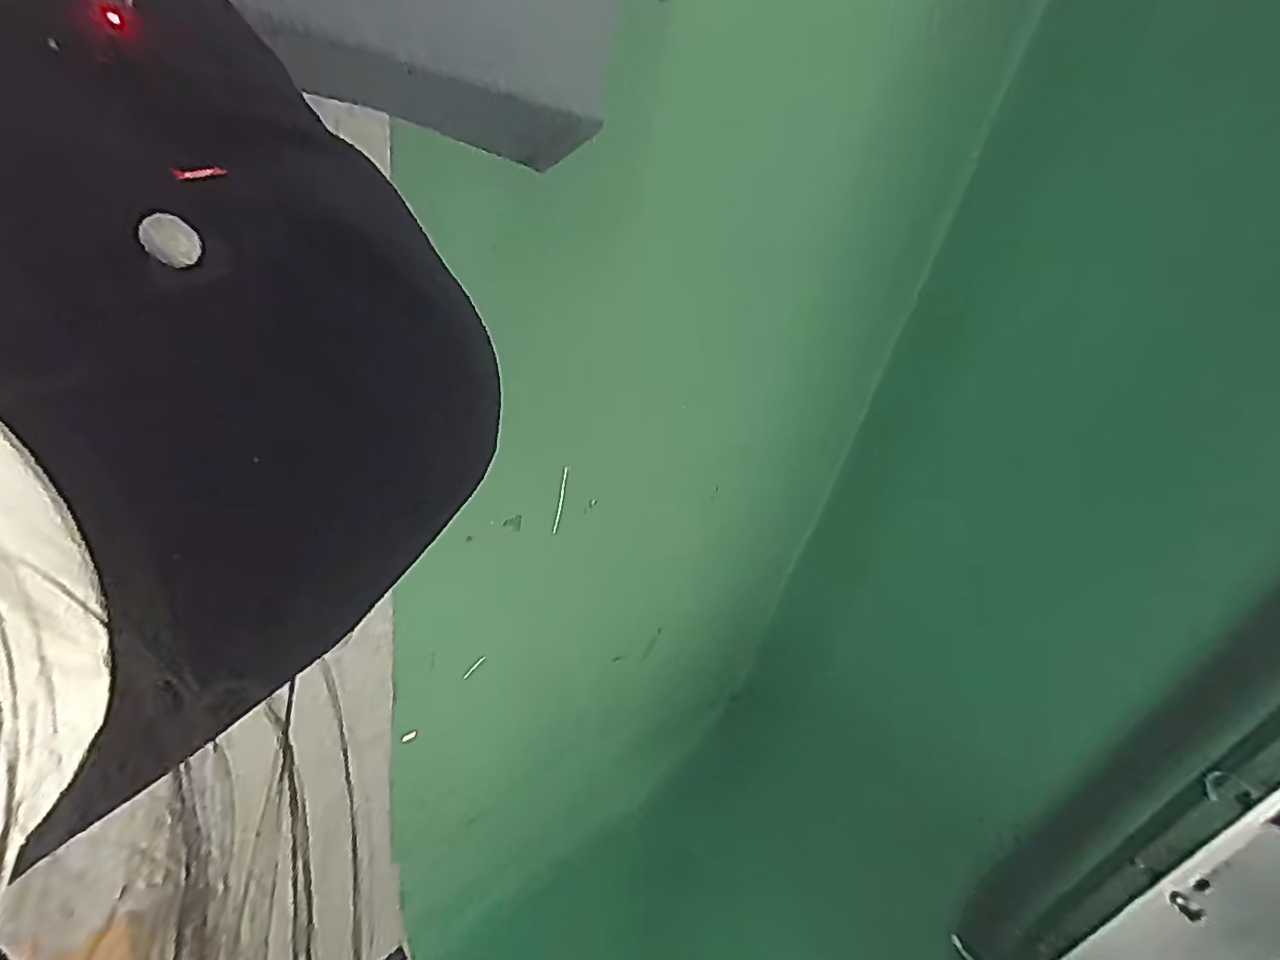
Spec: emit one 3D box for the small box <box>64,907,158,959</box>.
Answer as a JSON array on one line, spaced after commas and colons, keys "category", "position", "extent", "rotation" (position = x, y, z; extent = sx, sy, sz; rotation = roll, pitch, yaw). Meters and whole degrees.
[{"category": "small box", "position": [-1.661, 1.508, 1.699], "extent": [0.179, 0.176, 0.168], "rotation": [-27, 137, -34]}]
